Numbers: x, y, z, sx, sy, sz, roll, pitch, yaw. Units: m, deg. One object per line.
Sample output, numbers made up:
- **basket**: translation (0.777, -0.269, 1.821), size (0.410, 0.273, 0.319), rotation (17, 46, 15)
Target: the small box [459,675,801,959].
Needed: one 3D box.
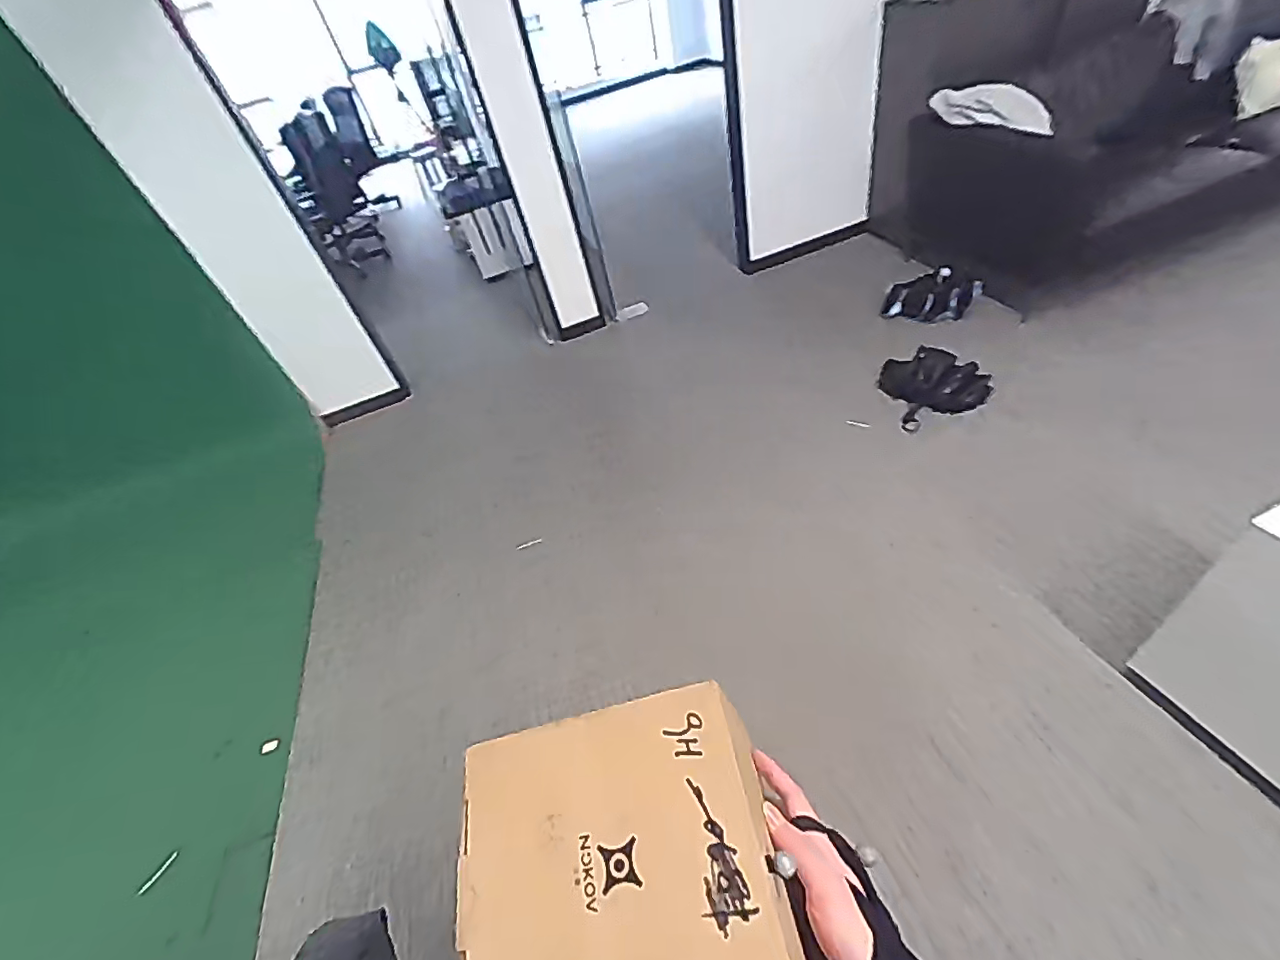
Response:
- **small box**: translation (-0.001, 0.255, 0.372), size (0.179, 0.176, 0.168), rotation (-17, 54, 8)
